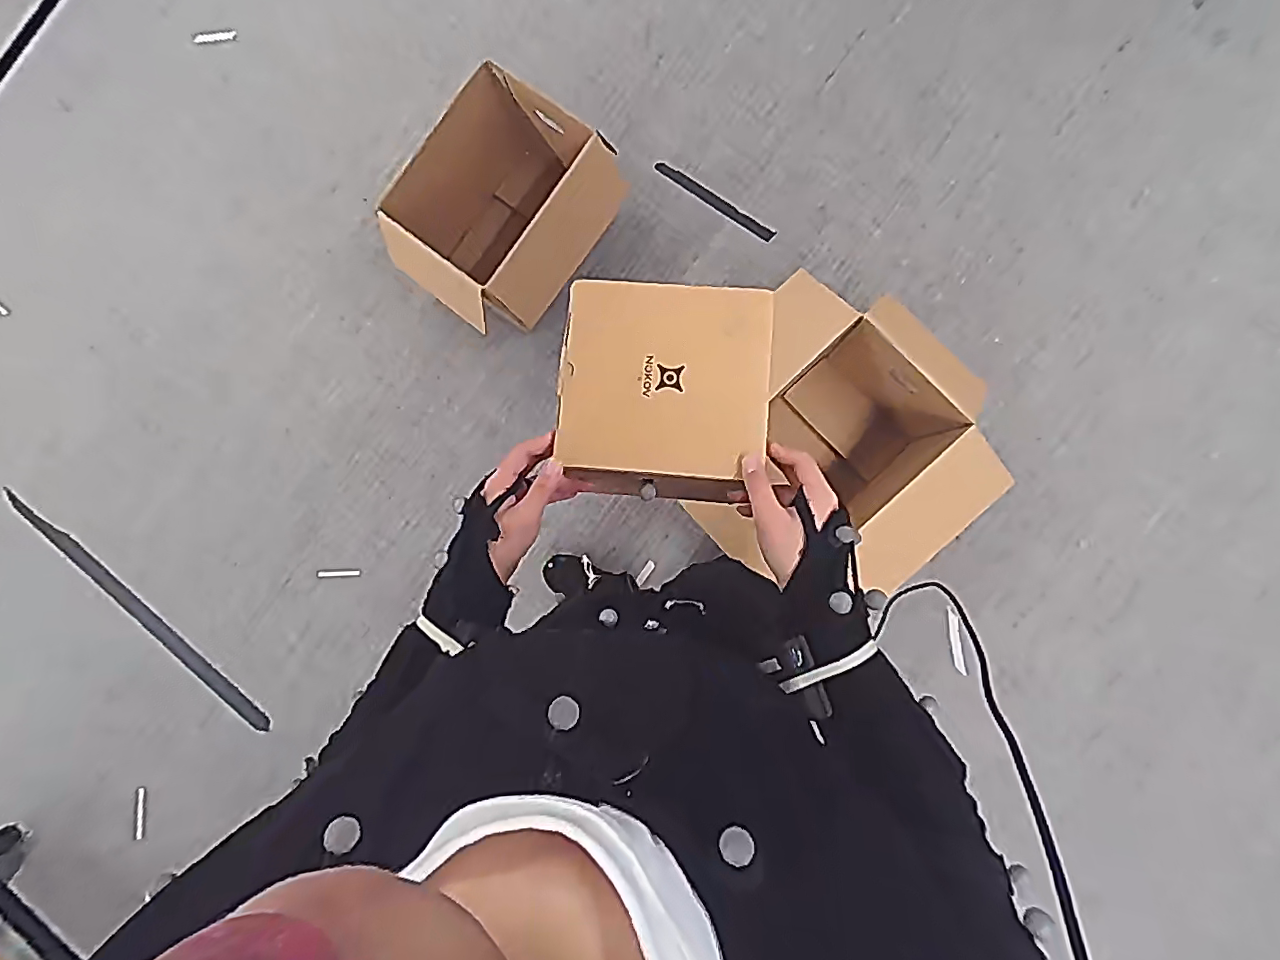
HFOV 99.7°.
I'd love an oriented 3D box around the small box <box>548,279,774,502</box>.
[{"bbox_3d":[0.022,-0.072,0.523,0.179,0.176,0.168,5,82,4],"label":"small box"}]
